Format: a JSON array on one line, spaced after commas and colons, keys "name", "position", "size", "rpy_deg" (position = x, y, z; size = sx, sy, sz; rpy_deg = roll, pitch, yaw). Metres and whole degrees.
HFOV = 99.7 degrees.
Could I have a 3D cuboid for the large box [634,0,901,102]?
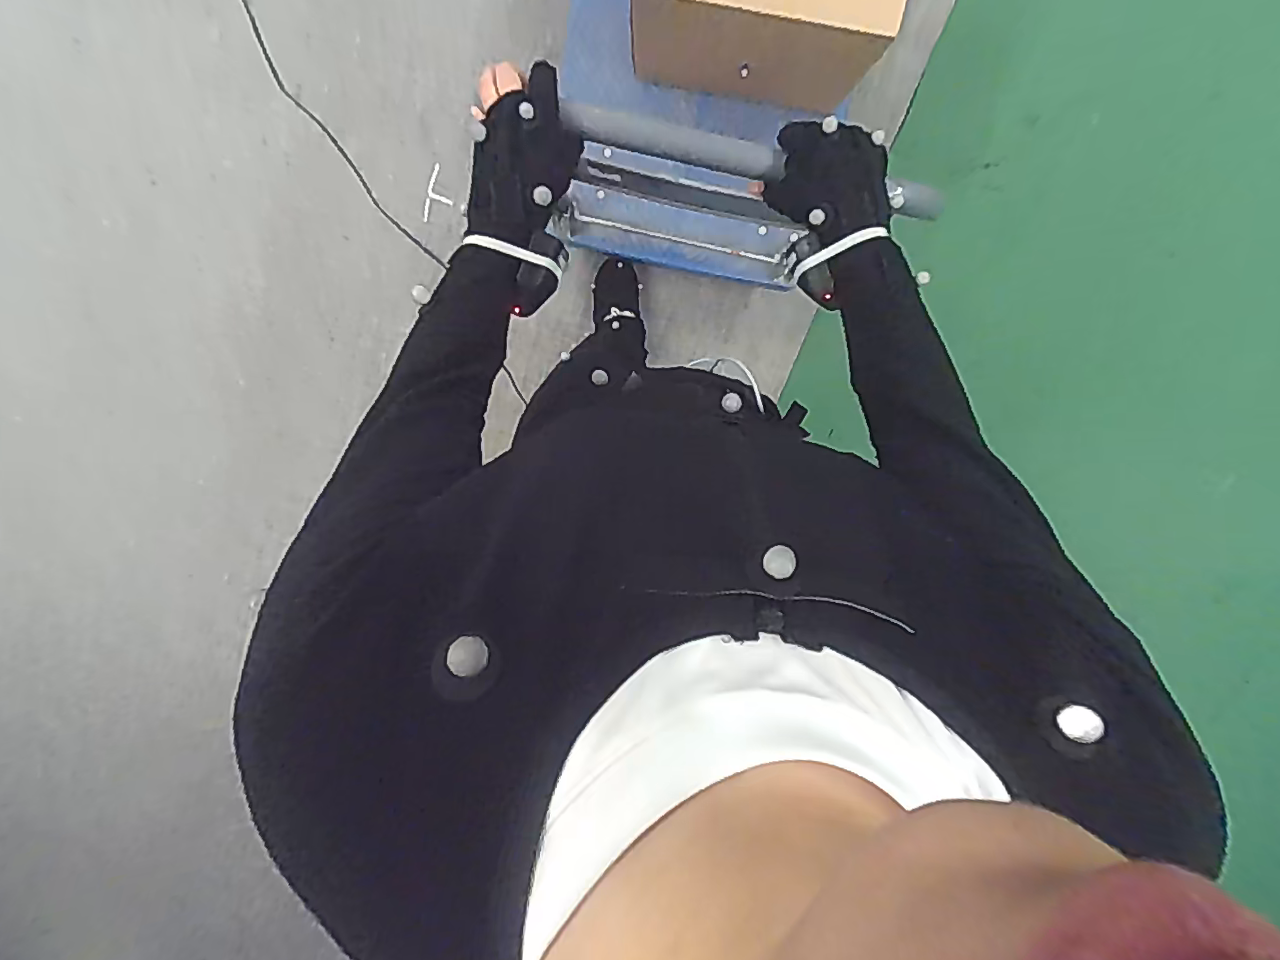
[{"name": "large box", "position": [0.213, -0.888, 0.912], "size": [0.408, 0.320, 0.320], "rpy_deg": [9, 106, 0]}]
